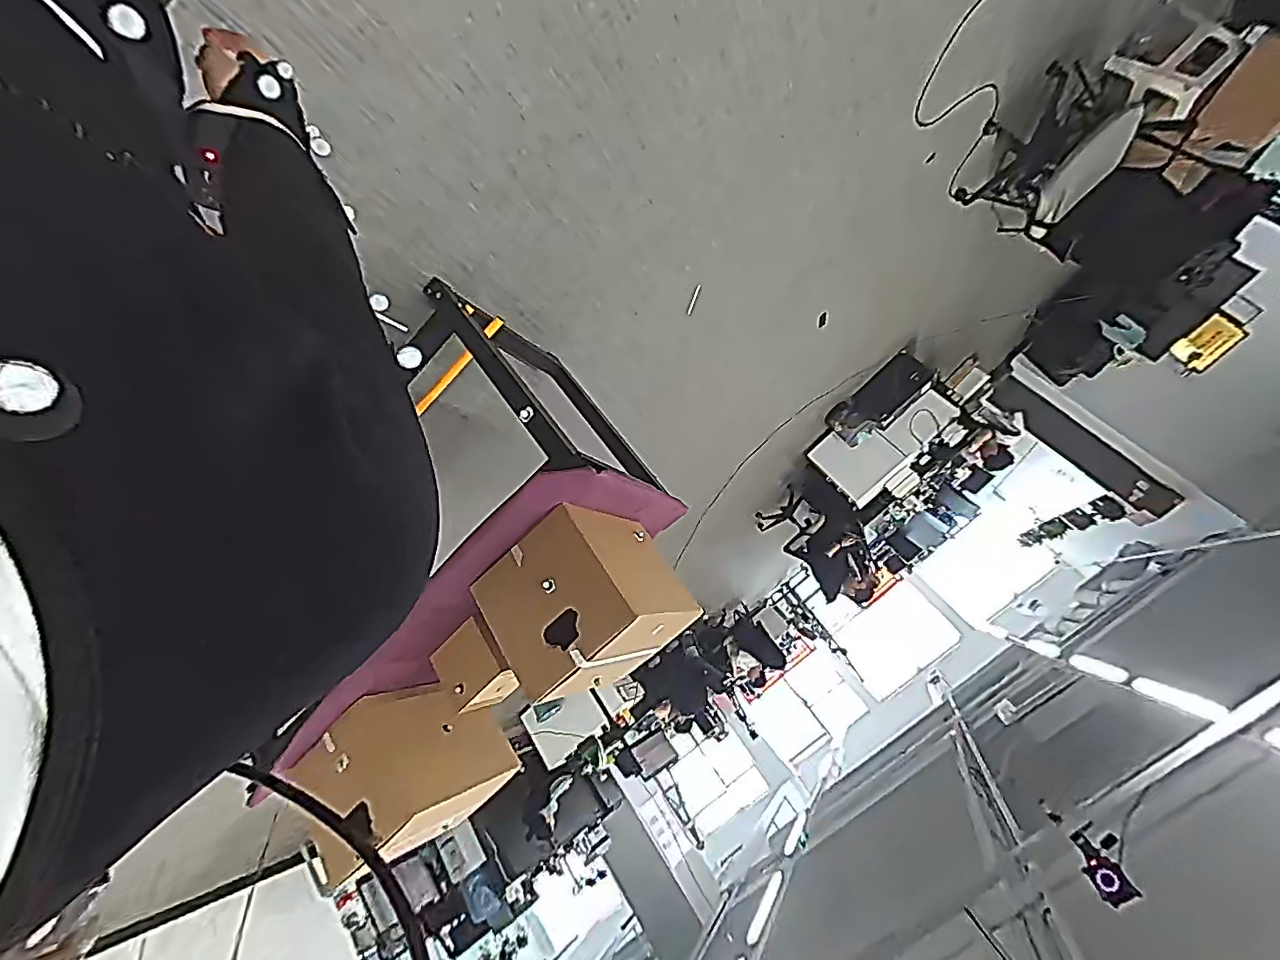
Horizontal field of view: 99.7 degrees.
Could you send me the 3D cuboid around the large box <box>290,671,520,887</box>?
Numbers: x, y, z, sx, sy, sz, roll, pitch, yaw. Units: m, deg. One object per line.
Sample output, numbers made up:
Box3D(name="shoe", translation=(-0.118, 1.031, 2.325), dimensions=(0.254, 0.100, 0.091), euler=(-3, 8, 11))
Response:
Box3D(name="large box", translation=(-0.614, 0.758, 1.445), dimensions=(0.320, 0.320, 0.408), euler=(-44, 156, 11))
